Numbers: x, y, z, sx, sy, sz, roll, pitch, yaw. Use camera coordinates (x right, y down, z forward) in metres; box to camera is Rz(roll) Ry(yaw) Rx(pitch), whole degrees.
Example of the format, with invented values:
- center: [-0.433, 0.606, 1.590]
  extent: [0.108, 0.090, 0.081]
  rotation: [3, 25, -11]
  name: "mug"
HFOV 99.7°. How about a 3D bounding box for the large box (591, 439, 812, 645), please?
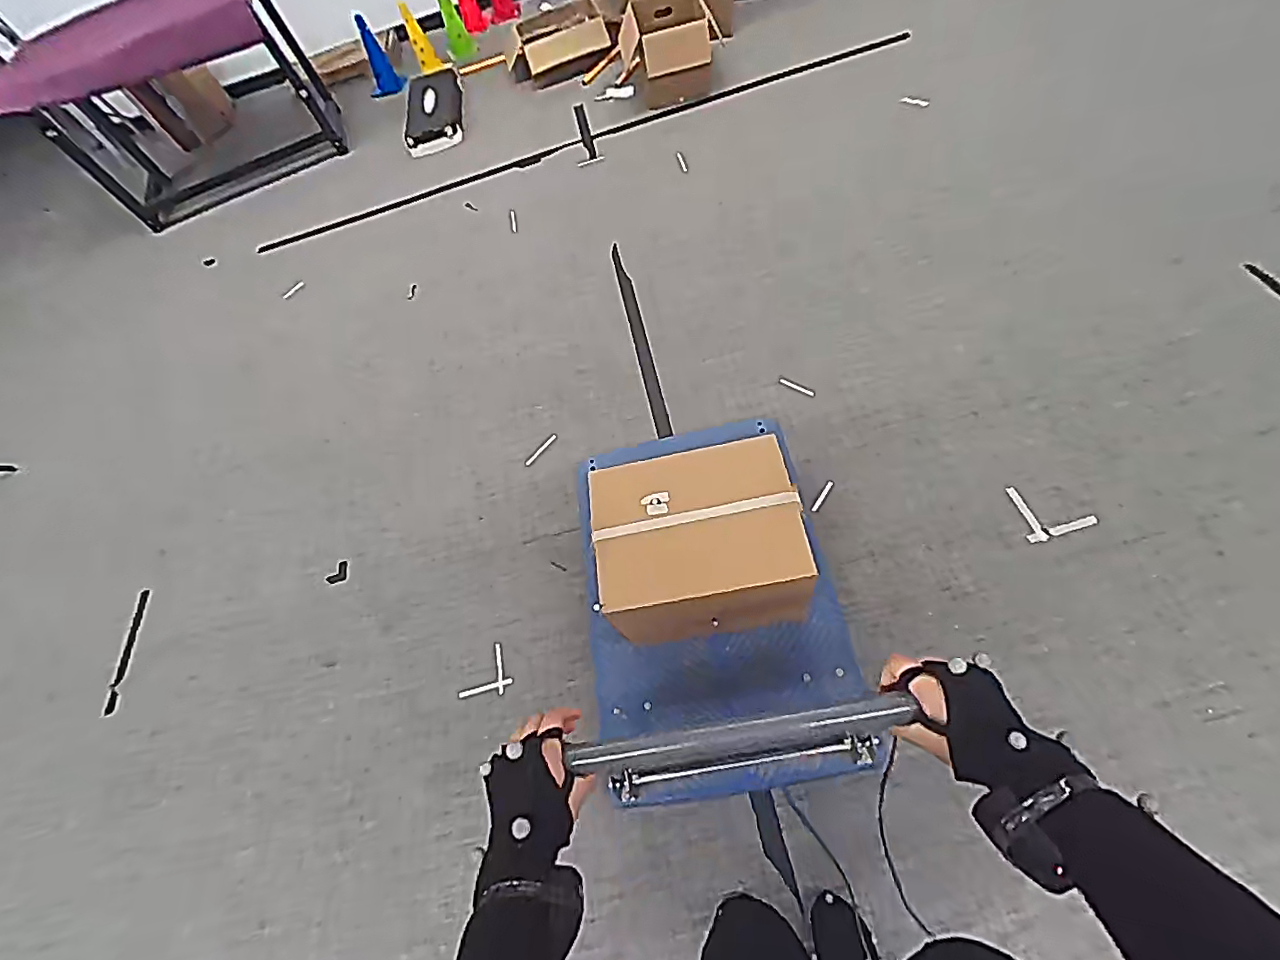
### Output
- center: [0.135, 0.155, 1.208]
  extent: [0.408, 0.320, 0.320]
  rotation: [-12, 59, 7]
  name: "large box"
